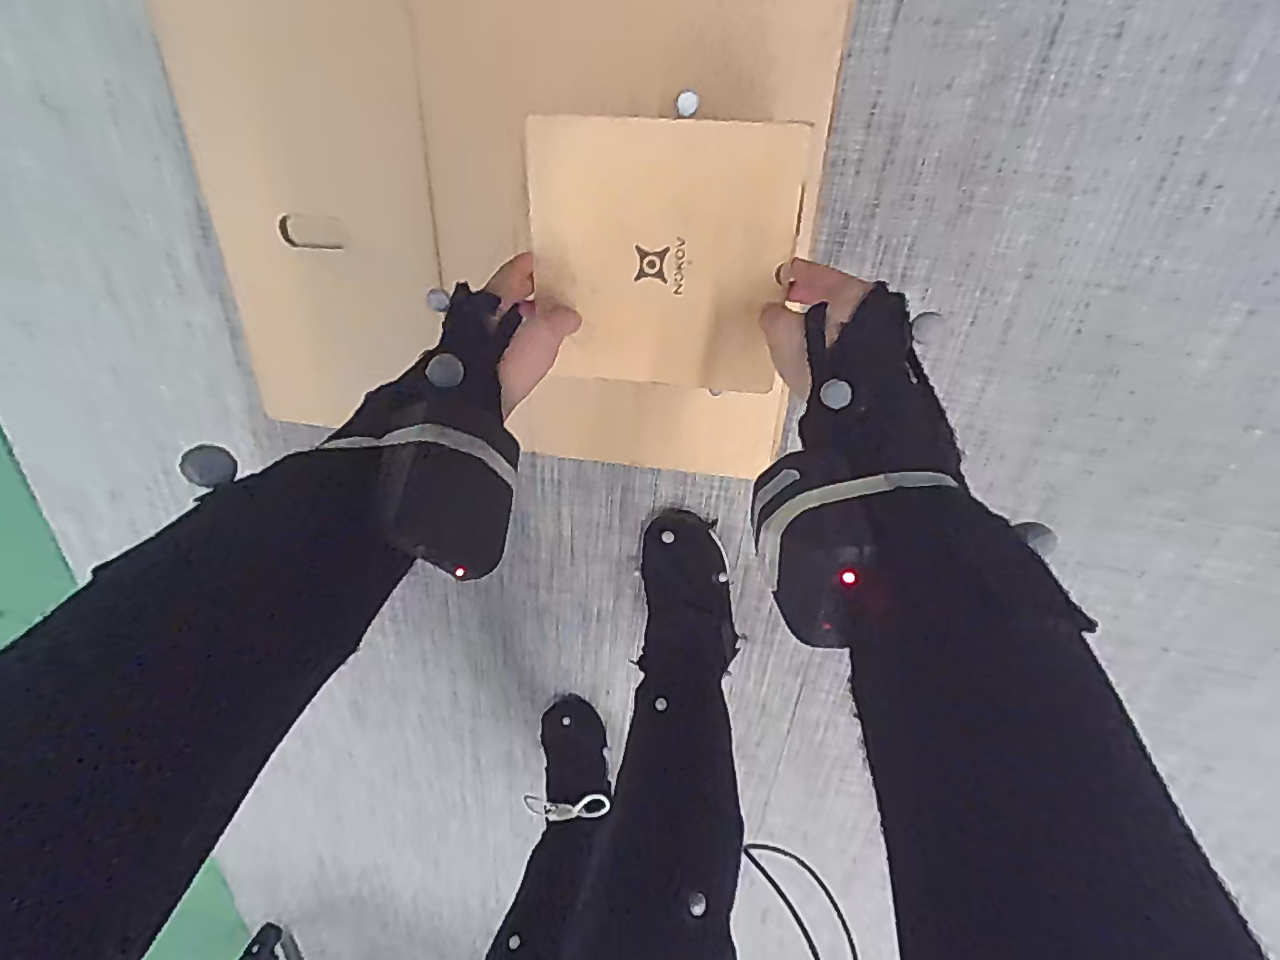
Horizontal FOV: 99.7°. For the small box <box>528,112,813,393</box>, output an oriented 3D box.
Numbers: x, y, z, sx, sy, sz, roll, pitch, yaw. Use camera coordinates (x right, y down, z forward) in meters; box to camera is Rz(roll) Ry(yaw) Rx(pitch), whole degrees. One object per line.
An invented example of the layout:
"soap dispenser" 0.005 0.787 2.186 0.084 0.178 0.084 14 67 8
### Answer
"small box" 0.023 -0.181 0.432 0.179 0.176 0.168 6 119 5
